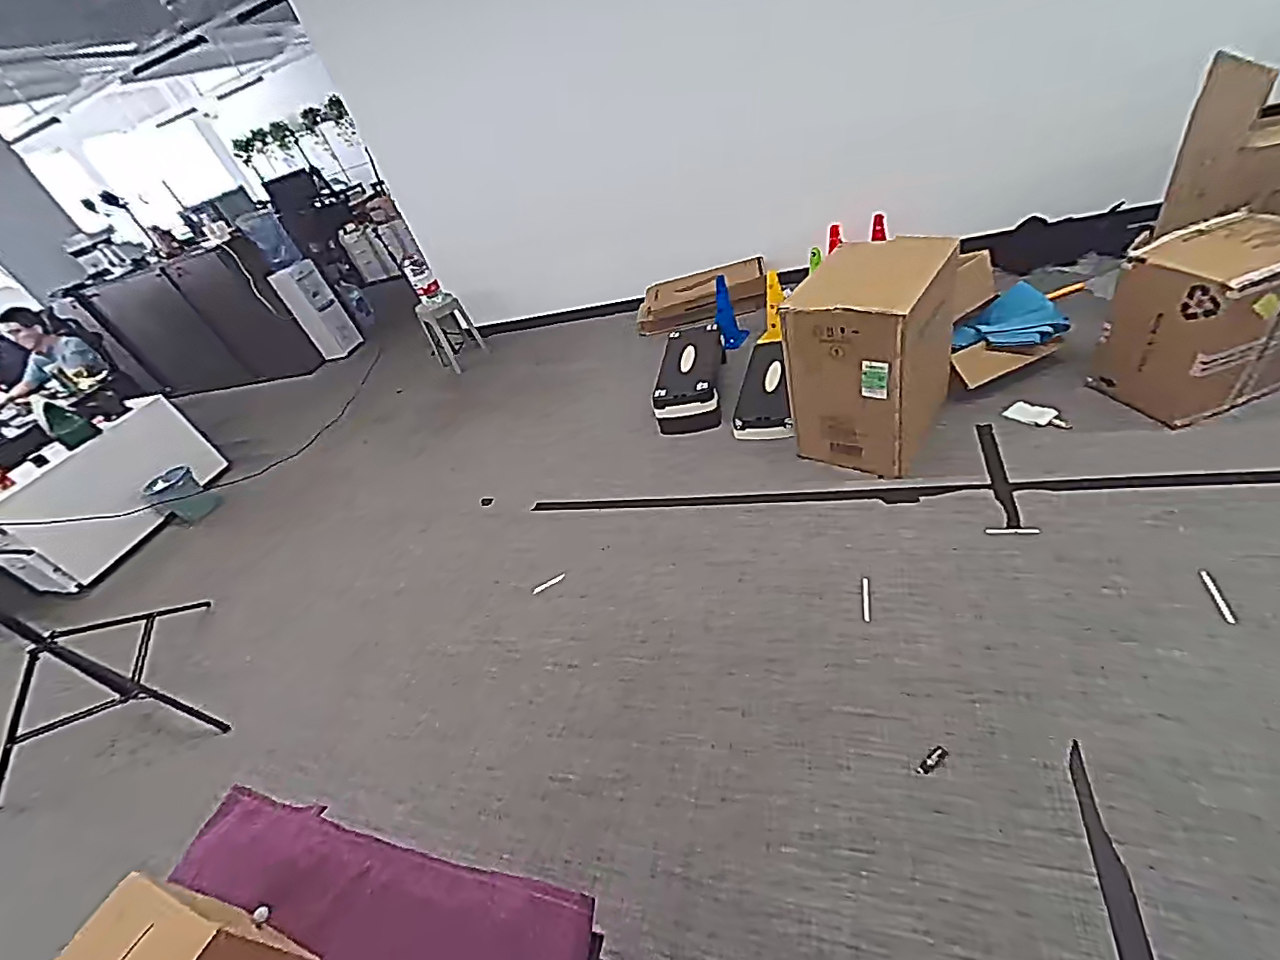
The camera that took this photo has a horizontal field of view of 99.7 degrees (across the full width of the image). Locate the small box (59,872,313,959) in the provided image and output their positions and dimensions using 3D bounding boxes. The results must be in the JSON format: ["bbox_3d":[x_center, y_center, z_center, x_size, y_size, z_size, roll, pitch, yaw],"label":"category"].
[{"bbox_3d":[-0.489,0.550,0.550,0.168,0.176,0.179,3,42,25],"label":"small box"}]
